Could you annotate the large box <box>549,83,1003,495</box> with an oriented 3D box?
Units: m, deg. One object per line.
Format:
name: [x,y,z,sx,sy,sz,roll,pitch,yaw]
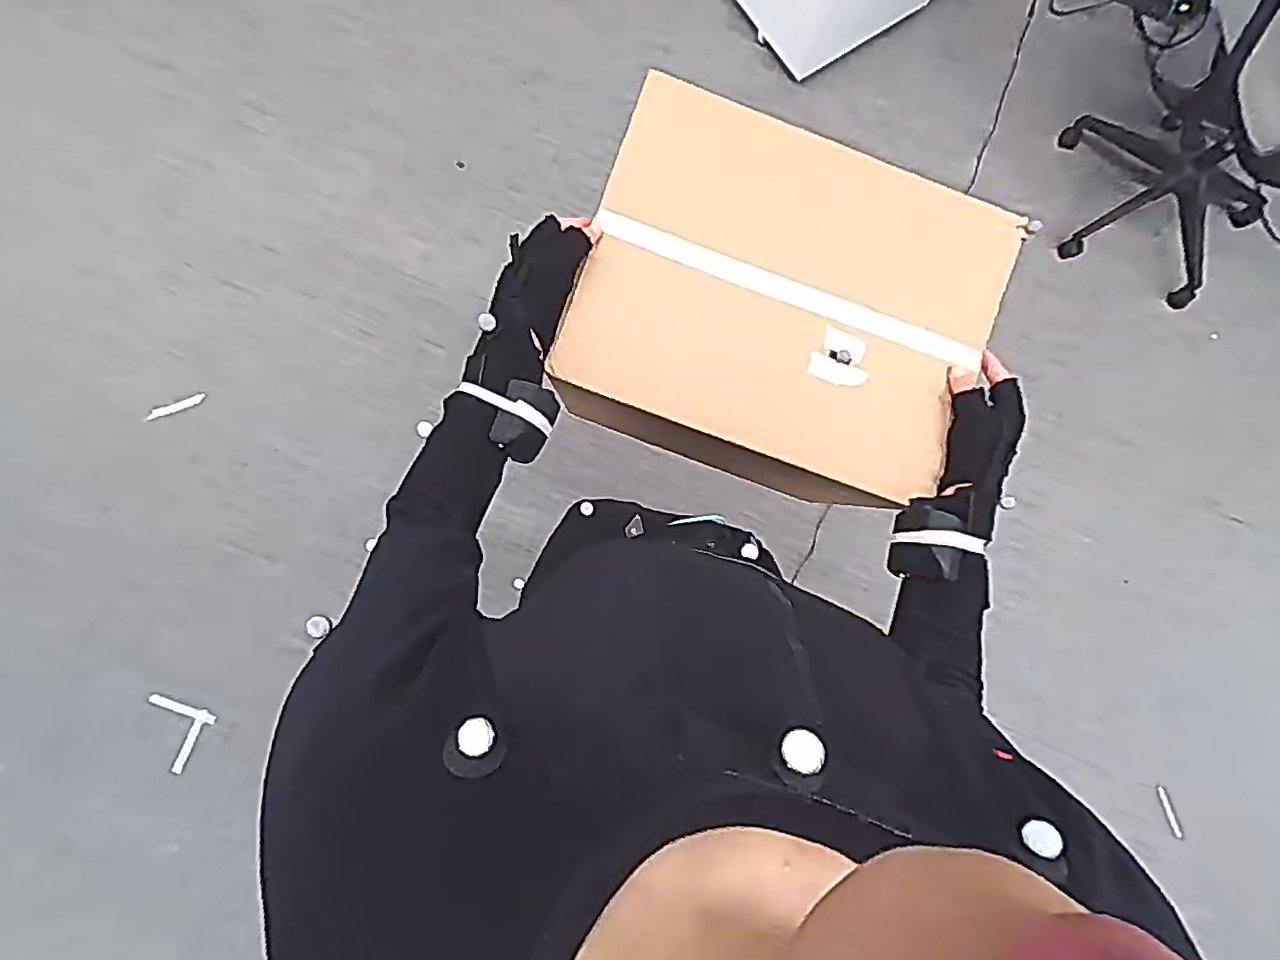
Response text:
large box: [0.132,-0.191,0.694,0.408,0.320,0.320,20,90,-4]
